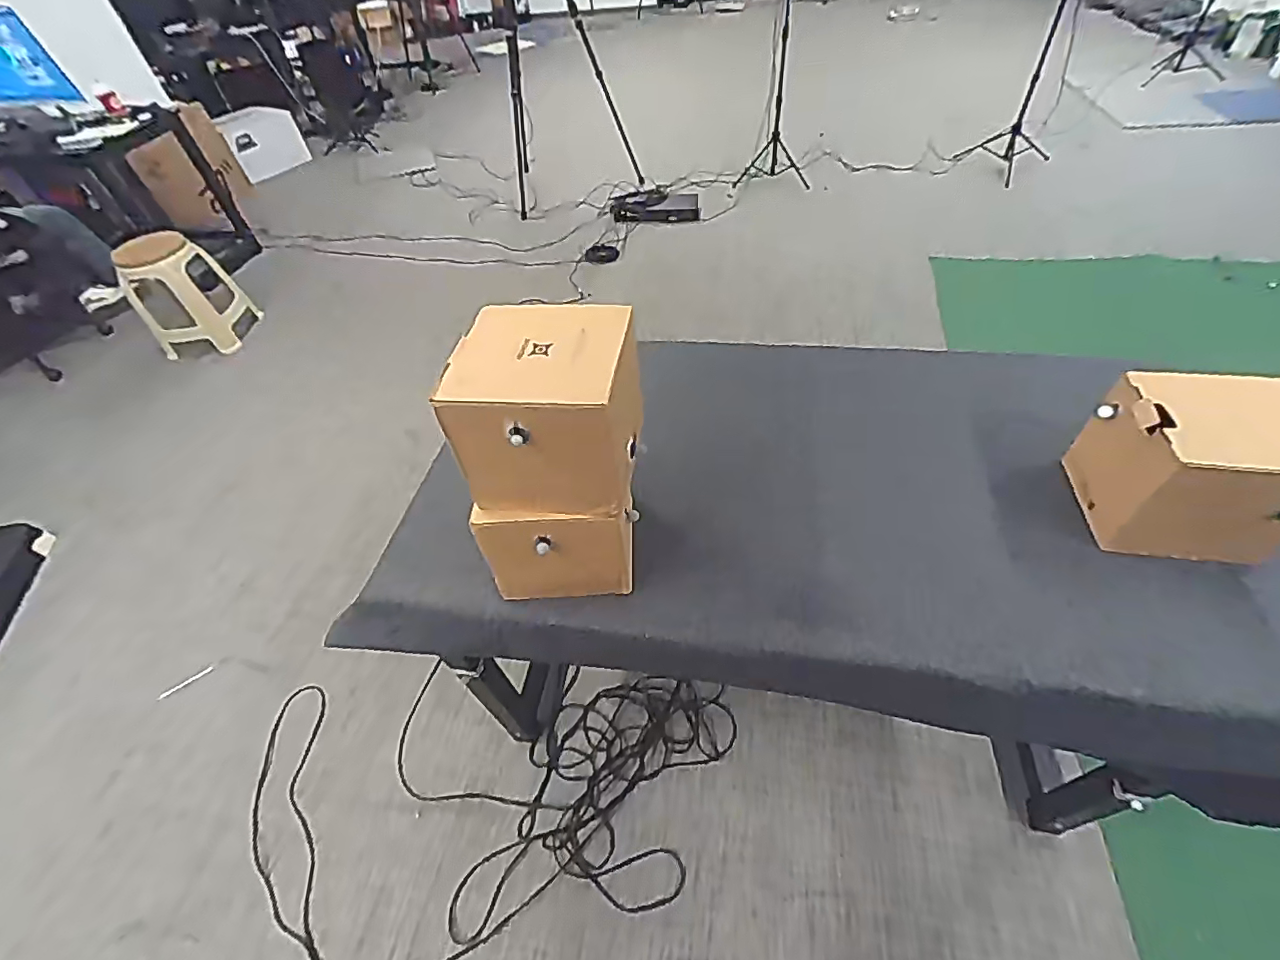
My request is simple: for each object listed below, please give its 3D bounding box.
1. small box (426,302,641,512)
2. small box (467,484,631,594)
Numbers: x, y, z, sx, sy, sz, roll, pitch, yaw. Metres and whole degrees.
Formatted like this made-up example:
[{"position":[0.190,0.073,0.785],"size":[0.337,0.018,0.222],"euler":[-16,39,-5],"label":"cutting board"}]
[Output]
[{"position":[-0.099,-0.079,0.603],"size":[0.179,0.176,0.168],"euler":[3,50,8],"label":"small box"},{"position":[-0.104,0.039,0.716],"size":[0.179,0.176,0.168],"euler":[-3,47,3],"label":"small box"}]
